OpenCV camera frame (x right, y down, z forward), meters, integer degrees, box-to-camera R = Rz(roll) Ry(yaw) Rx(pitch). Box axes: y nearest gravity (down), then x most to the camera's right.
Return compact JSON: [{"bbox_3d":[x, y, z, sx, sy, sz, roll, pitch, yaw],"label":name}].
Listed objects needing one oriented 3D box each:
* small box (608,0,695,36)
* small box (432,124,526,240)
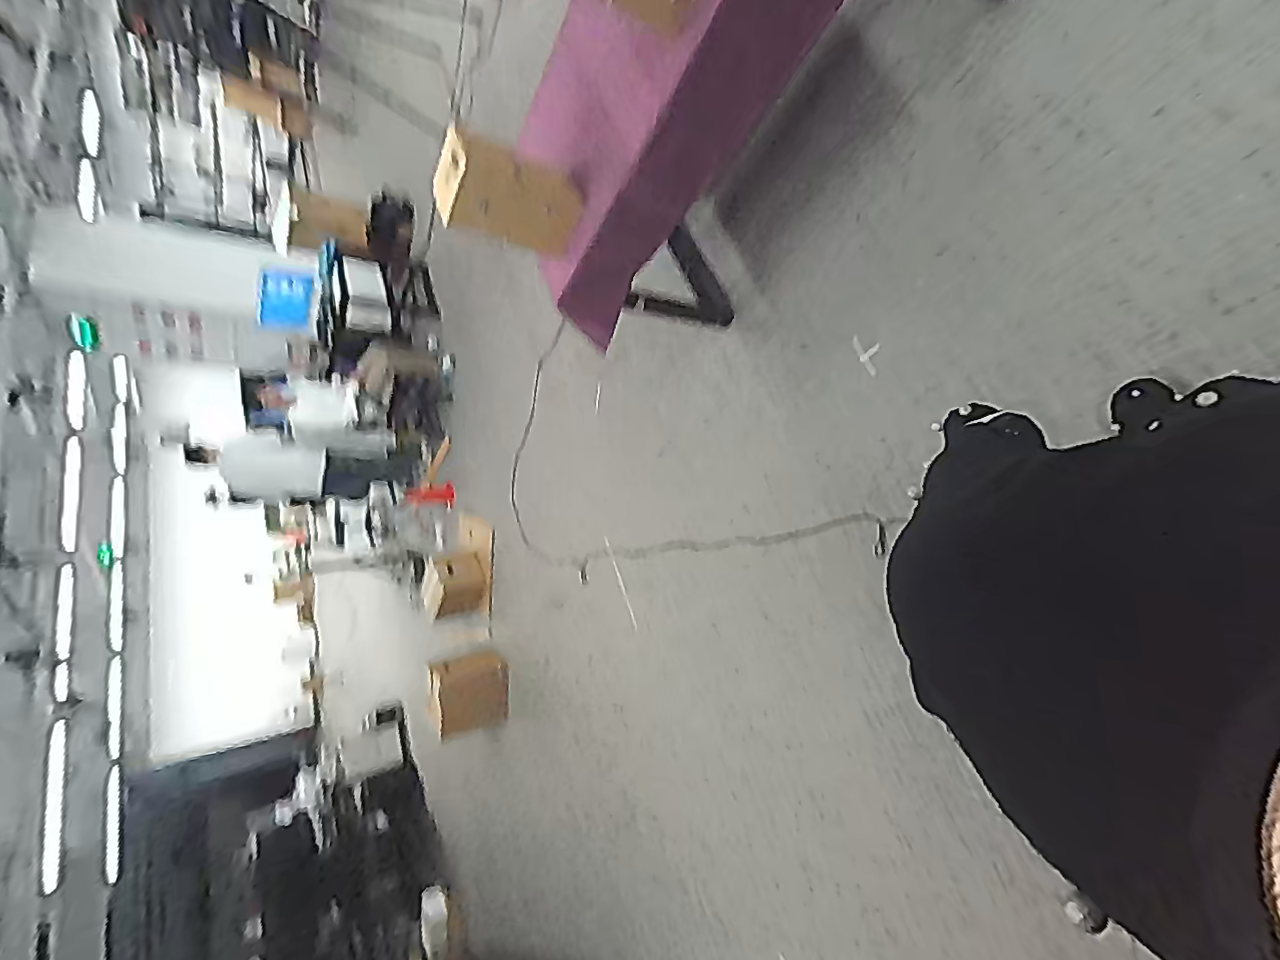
[{"bbox_3d":[0.021,-1.055,1.090,0.168,0.176,0.179,-42,60,45],"label":"small box"},{"bbox_3d":[-0.406,-0.751,1.377,0.179,0.176,0.168,-47,57,41],"label":"small box"}]
